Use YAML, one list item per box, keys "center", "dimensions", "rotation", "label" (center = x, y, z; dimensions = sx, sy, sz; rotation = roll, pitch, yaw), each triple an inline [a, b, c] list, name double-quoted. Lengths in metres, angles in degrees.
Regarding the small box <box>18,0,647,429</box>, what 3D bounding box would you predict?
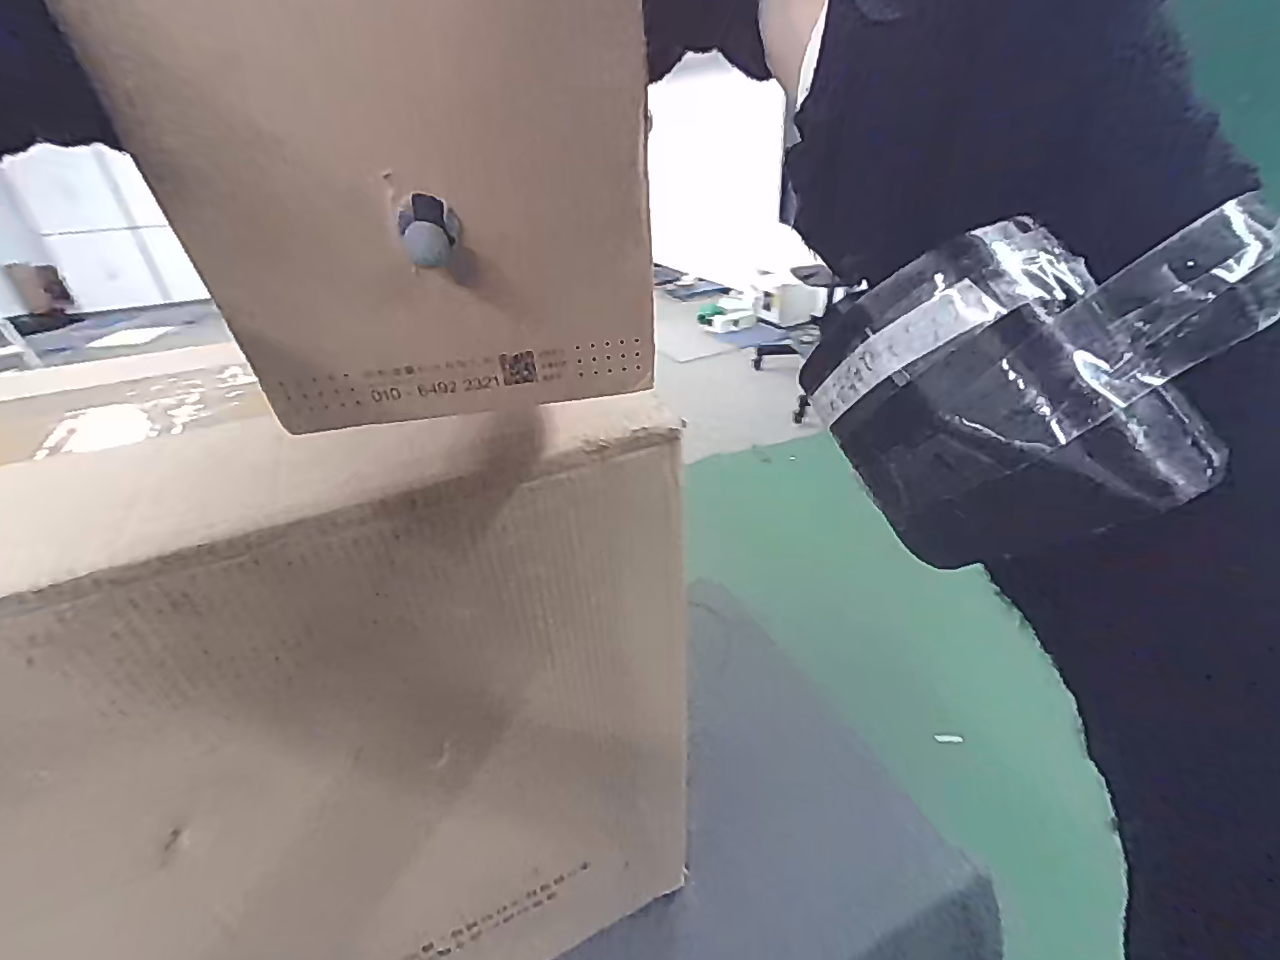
- center: [-0.090, -0.136, 0.258]
  dimensions: [0.168, 0.176, 0.179]
  rotation: [-7, 41, -5]
  label: "small box"
